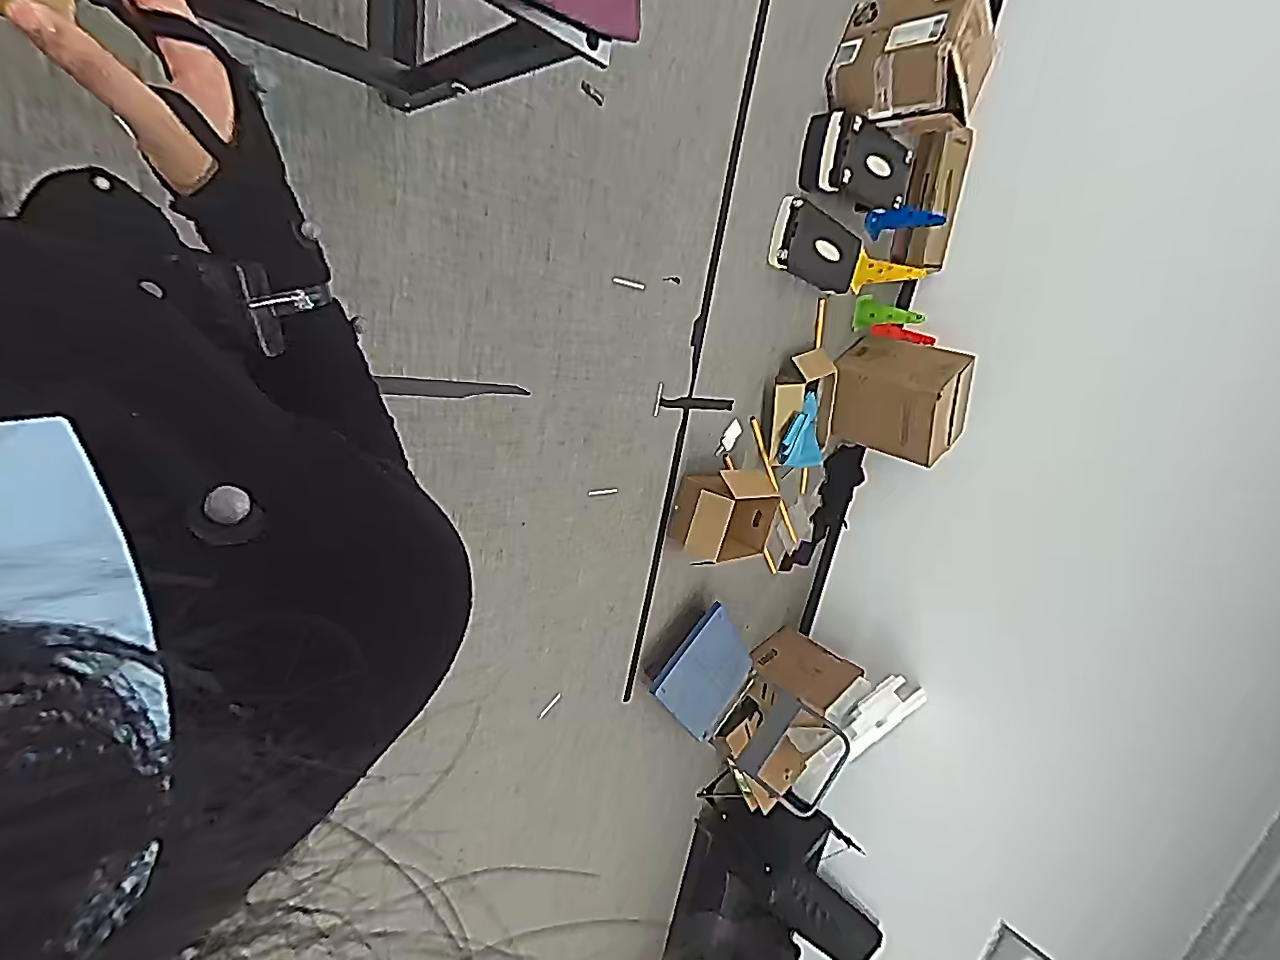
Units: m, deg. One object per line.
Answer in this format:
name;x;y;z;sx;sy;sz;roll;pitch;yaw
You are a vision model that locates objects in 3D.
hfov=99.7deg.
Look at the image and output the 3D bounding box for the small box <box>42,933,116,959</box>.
small box;-1.415;1.286;1.340;0.168;0.176;0.179;-11;118;-44
